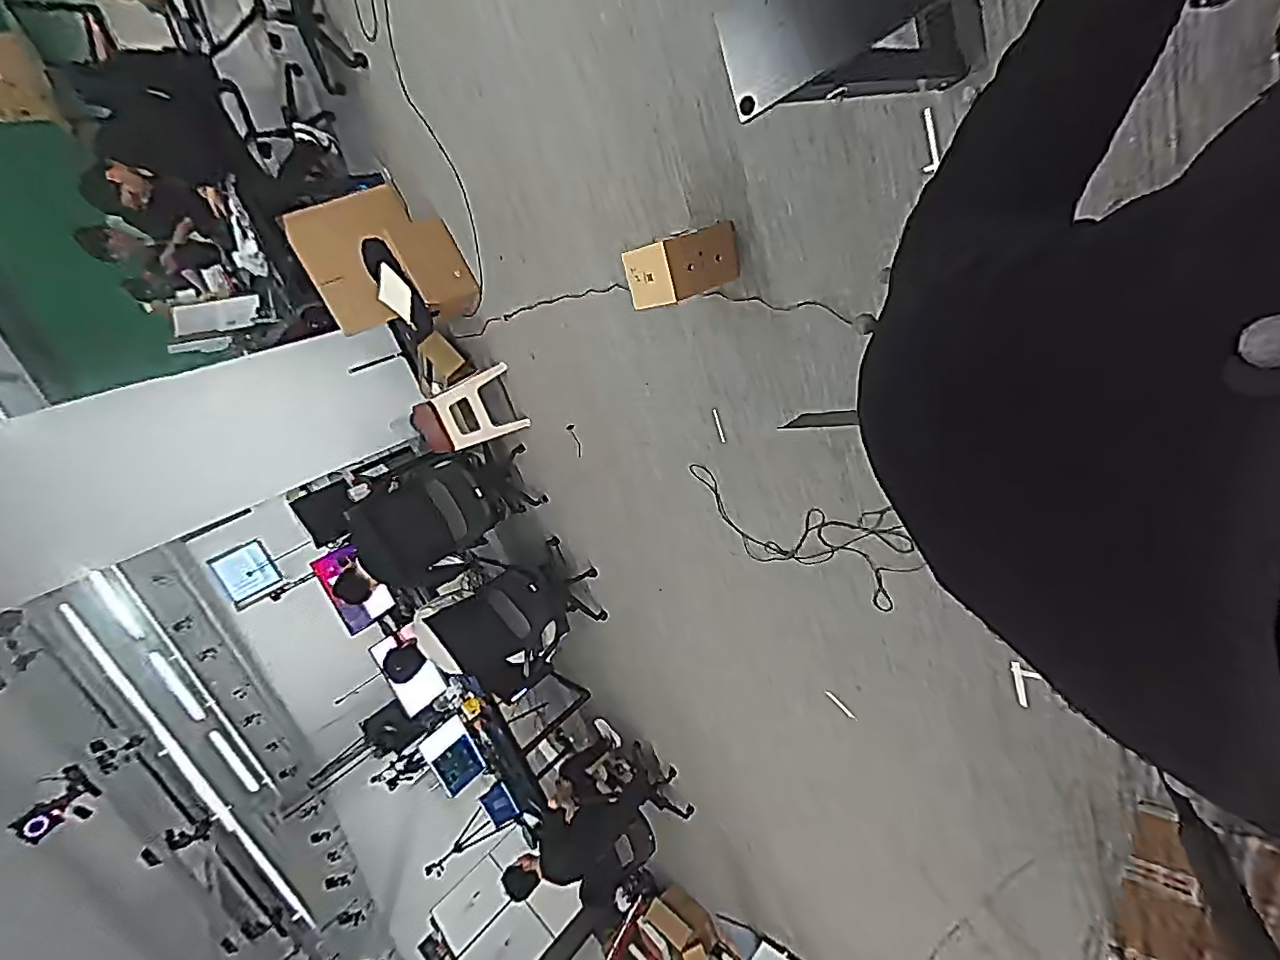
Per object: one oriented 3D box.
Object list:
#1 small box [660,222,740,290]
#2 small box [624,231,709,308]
[{"bbox_3d":[0.191,-0.694,1.686,0.168,0.176,0.179,13,126,45],"label":"small box"},{"bbox_3d":[0.086,-0.617,1.585,0.179,0.176,0.168,9,122,47],"label":"small box"}]
